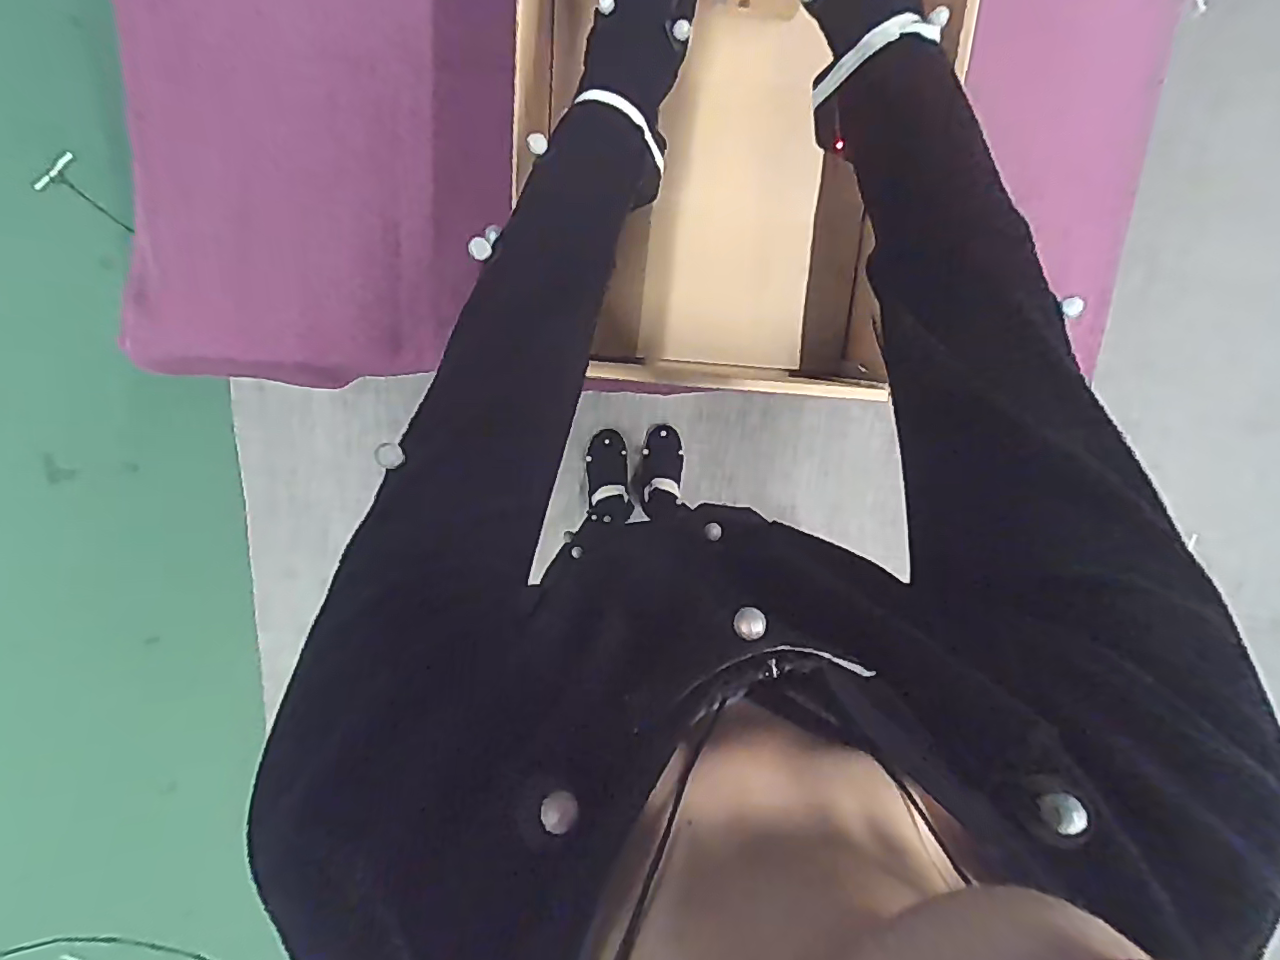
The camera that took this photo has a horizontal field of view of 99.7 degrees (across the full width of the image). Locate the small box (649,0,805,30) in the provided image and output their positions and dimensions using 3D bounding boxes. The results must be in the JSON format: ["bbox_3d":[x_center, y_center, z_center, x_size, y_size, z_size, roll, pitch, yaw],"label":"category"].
[{"bbox_3d":[0.092,-0.557,0.483,0.168,0.176,0.179,2,104,-3],"label":"small box"}]
